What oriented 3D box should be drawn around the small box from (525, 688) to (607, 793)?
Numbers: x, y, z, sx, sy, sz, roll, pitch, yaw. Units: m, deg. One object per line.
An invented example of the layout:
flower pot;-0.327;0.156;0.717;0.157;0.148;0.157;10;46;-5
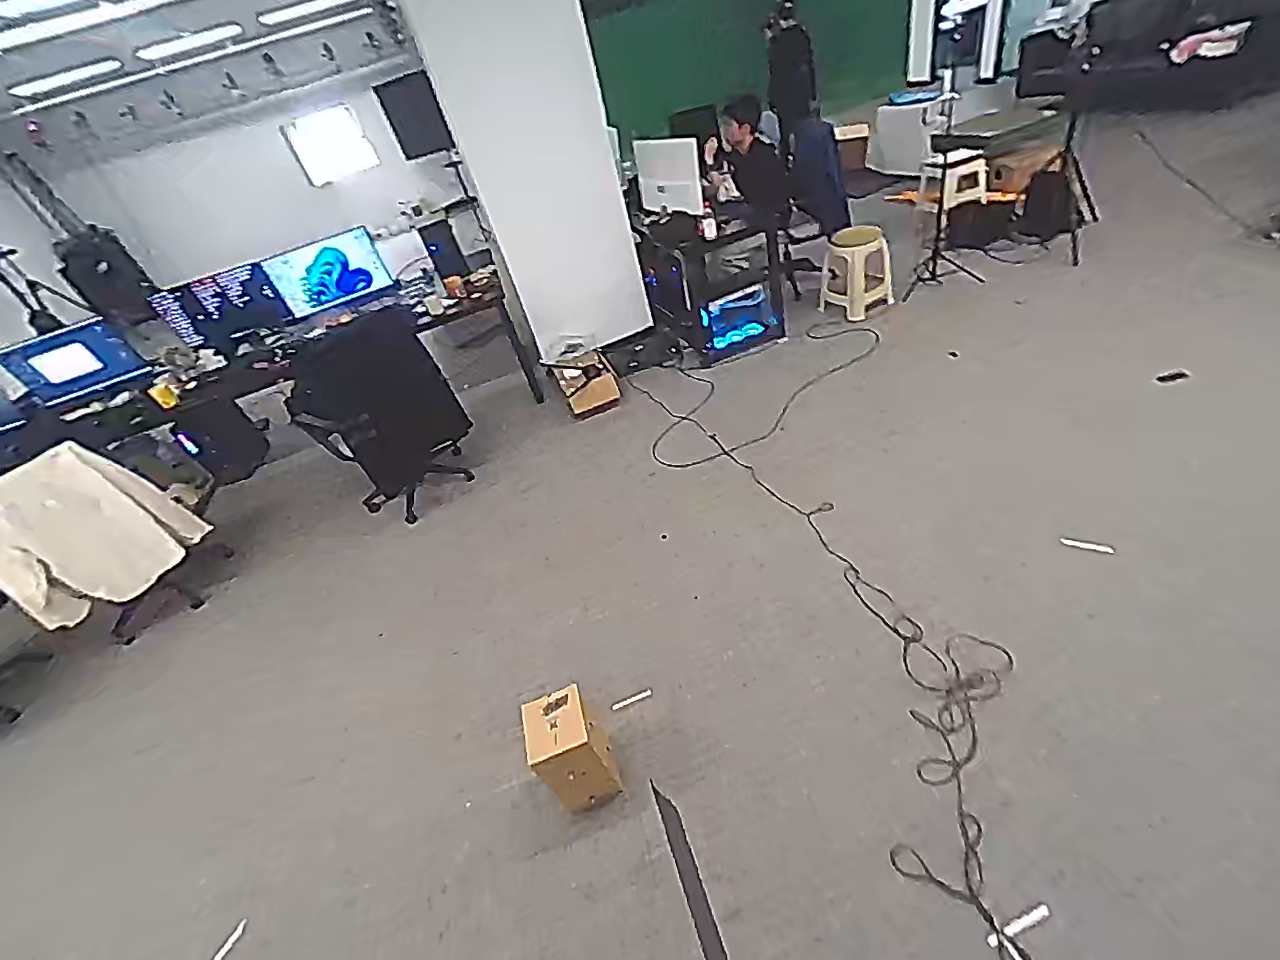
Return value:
small box;-0.204;0.714;1.483;0.168;0.176;0.179;-21;38;-4
